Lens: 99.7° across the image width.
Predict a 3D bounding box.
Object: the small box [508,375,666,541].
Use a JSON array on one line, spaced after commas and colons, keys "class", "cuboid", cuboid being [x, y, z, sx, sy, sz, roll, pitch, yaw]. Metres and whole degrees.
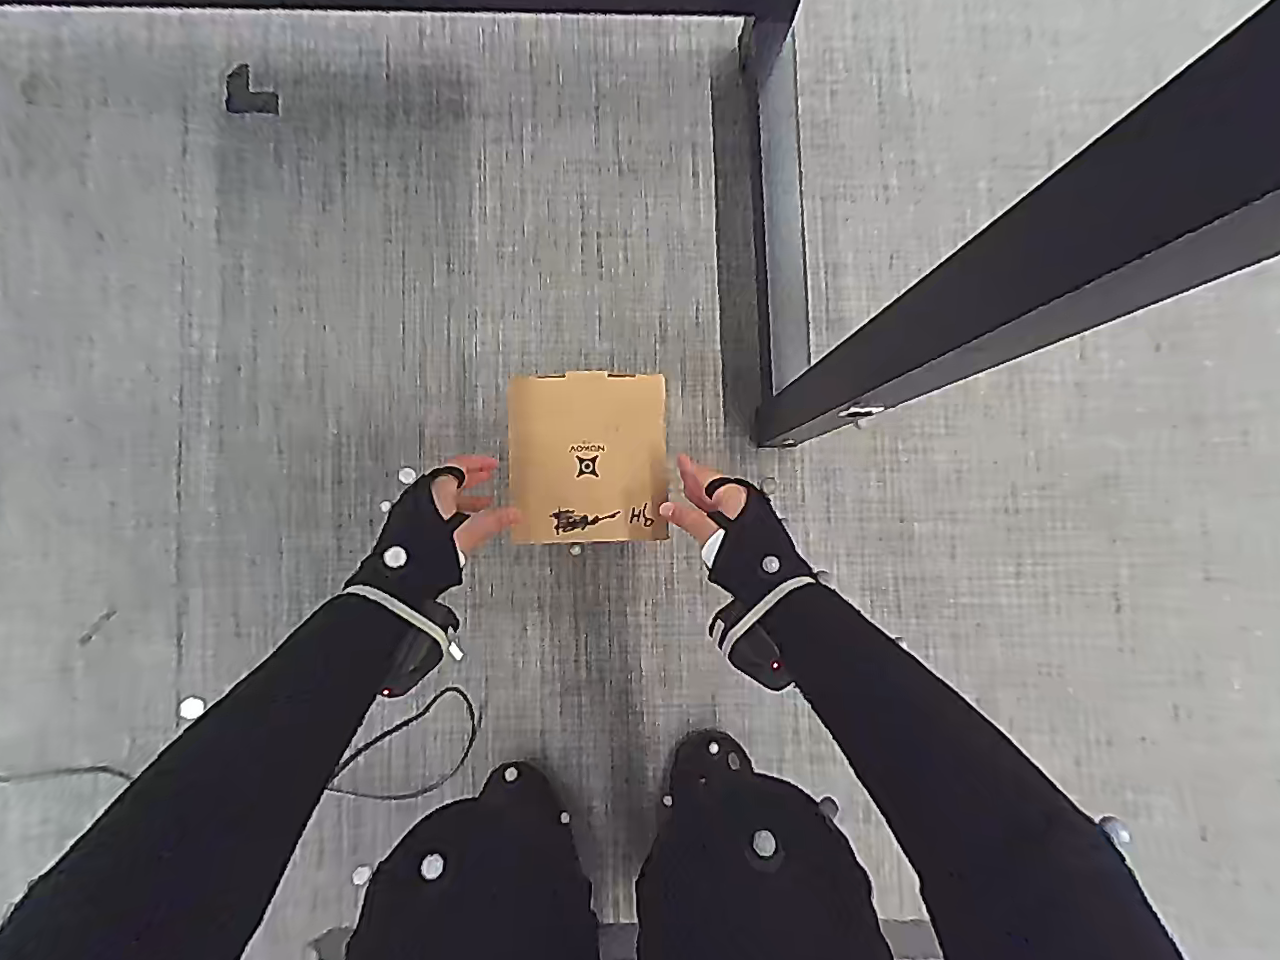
[{"class": "small box", "cuboid": [-0.058, -0.018, 0.645, 0.168, 0.176, 0.179, -2, 86, -1]}]
